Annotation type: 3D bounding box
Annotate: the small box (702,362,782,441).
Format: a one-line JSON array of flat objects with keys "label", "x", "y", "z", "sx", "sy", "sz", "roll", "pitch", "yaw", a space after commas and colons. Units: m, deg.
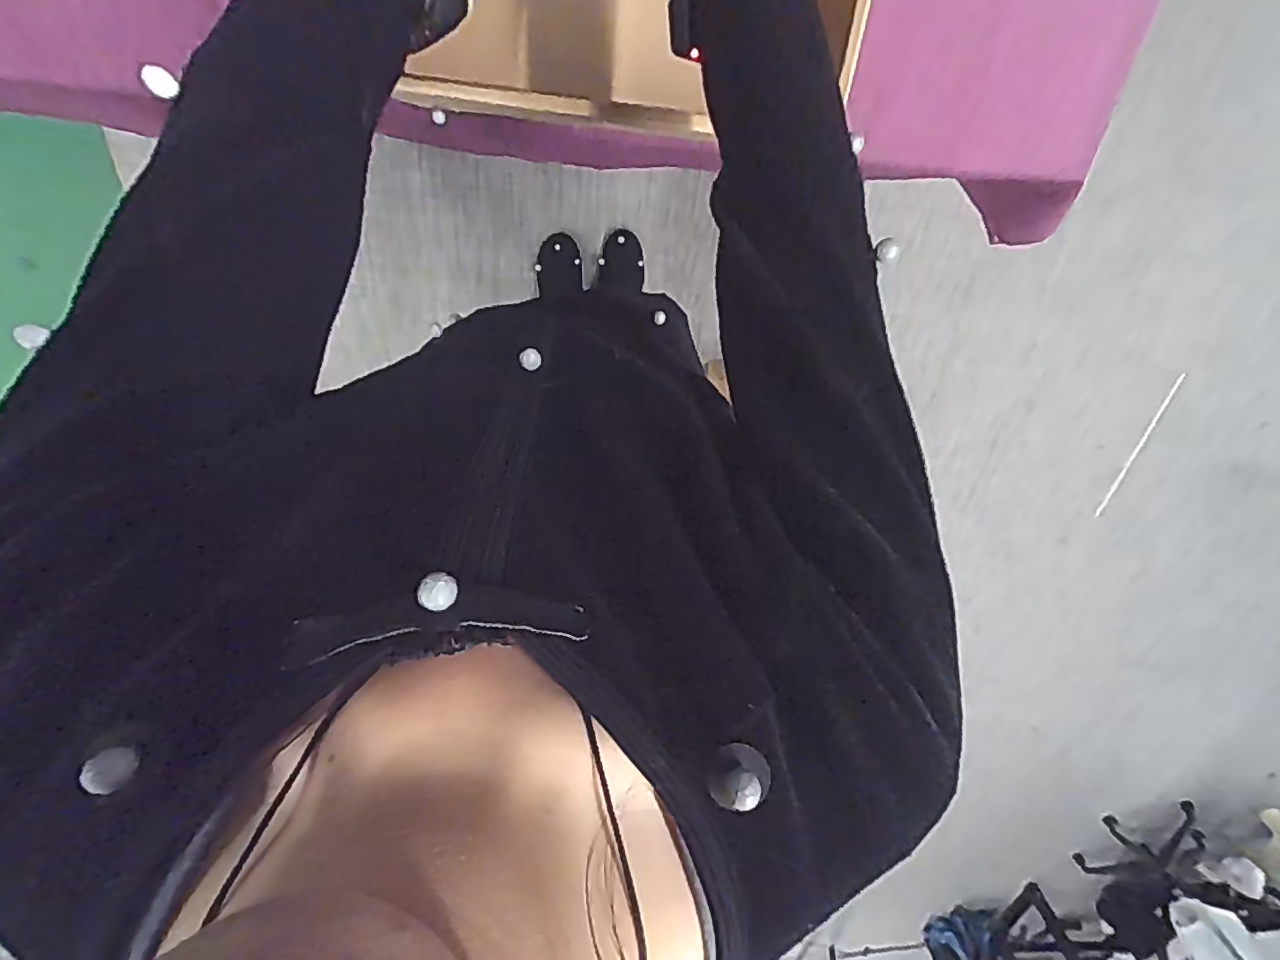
[{"label": "small box", "x": 0.264, "y": -0.213, "z": 1.447, "sx": 0.179, "sy": 0.176, "sz": 0.168, "roll": -2, "pitch": 119, "yaw": -3}]
